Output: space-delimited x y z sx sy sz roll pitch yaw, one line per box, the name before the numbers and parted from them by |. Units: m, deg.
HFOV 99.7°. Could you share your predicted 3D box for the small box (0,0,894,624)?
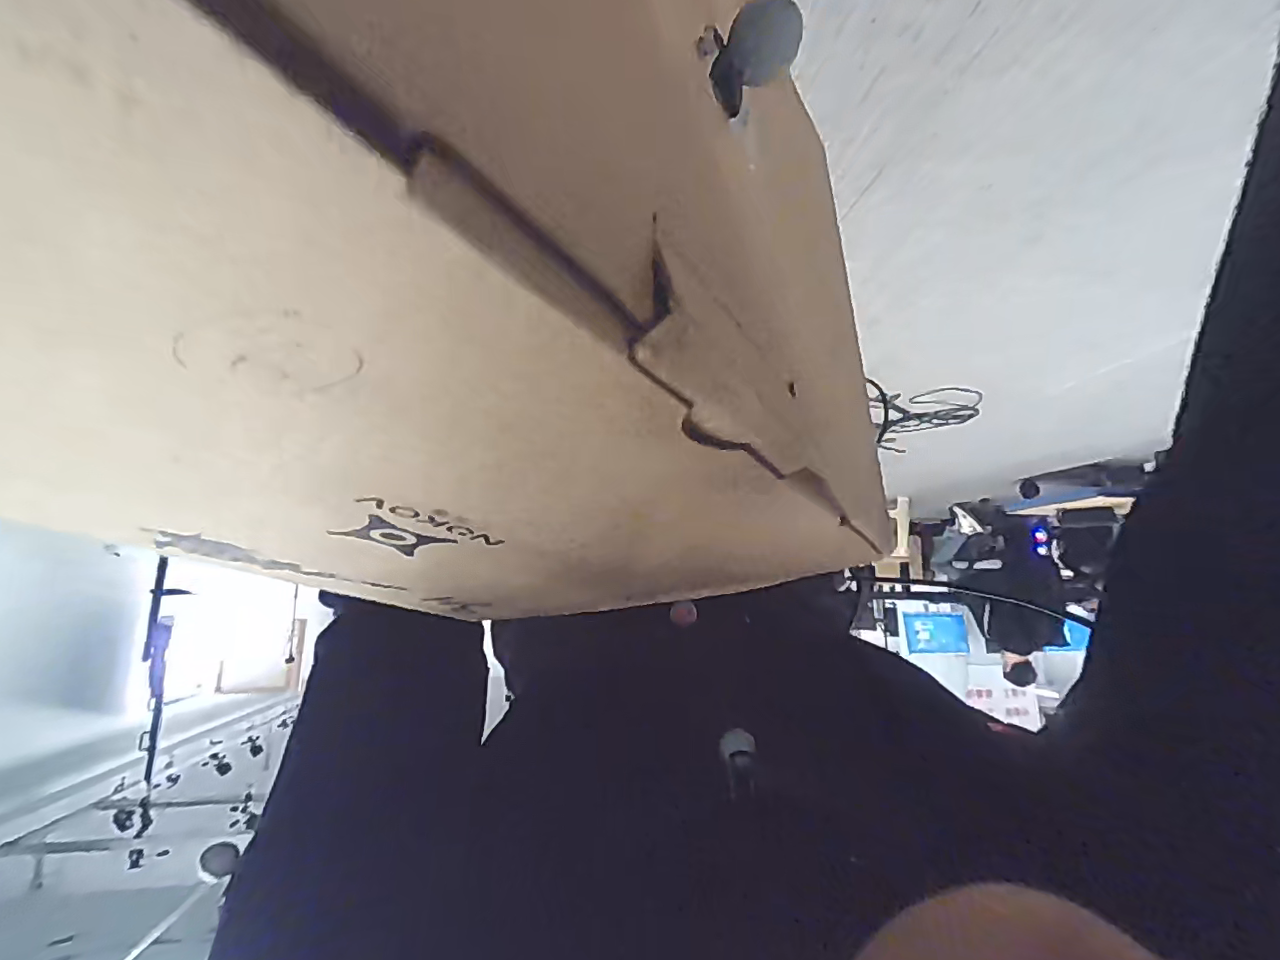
small box | -0.050 -0.062 0.165 0.179 0.176 0.168 -18 148 35
